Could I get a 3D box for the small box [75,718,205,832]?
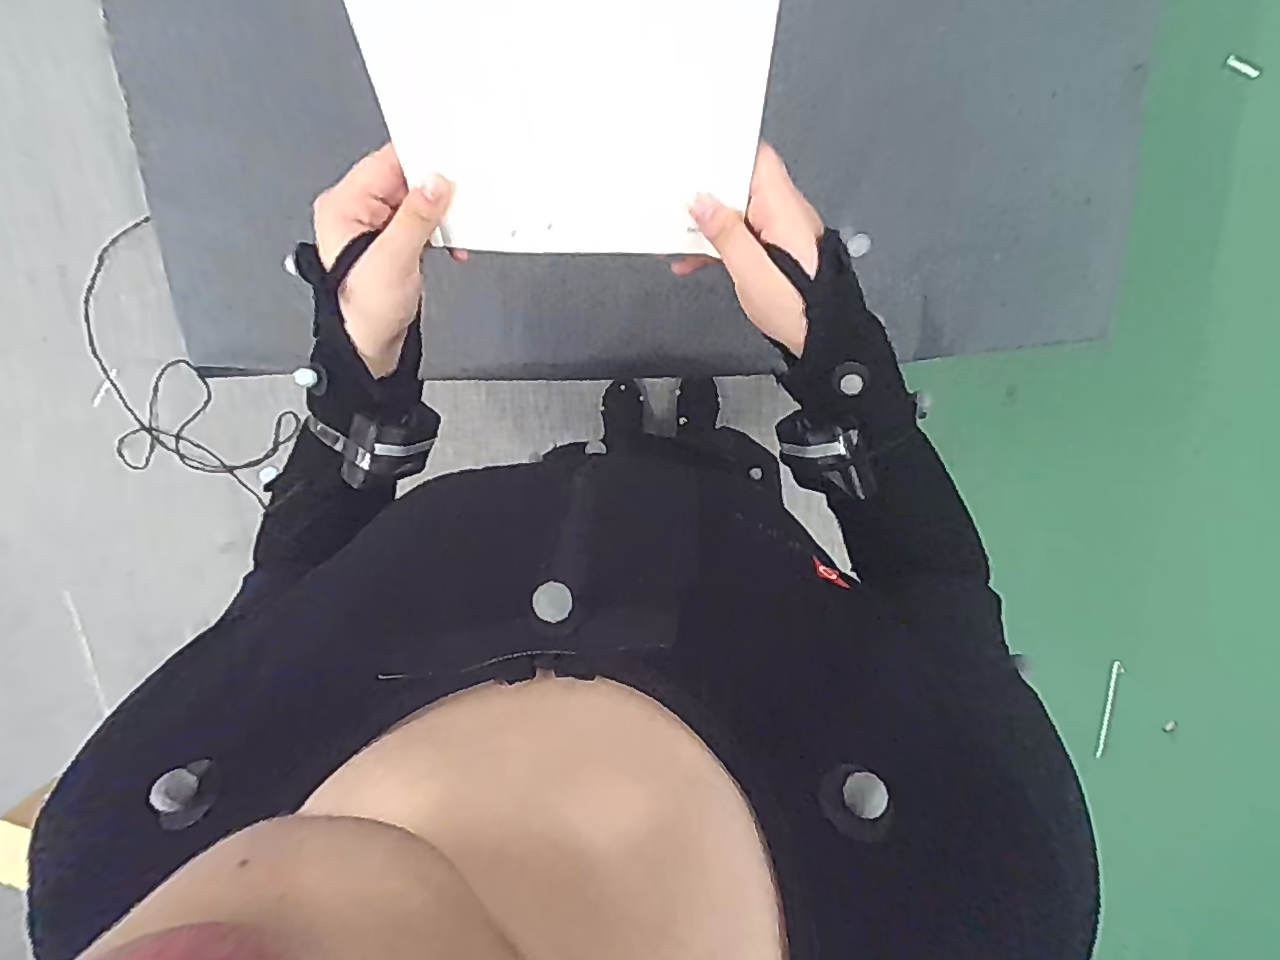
[{"bbox_3d":[-1.258,0.738,1.371,0.179,0.176,0.168,19,104,-3],"label":"small box"}]
